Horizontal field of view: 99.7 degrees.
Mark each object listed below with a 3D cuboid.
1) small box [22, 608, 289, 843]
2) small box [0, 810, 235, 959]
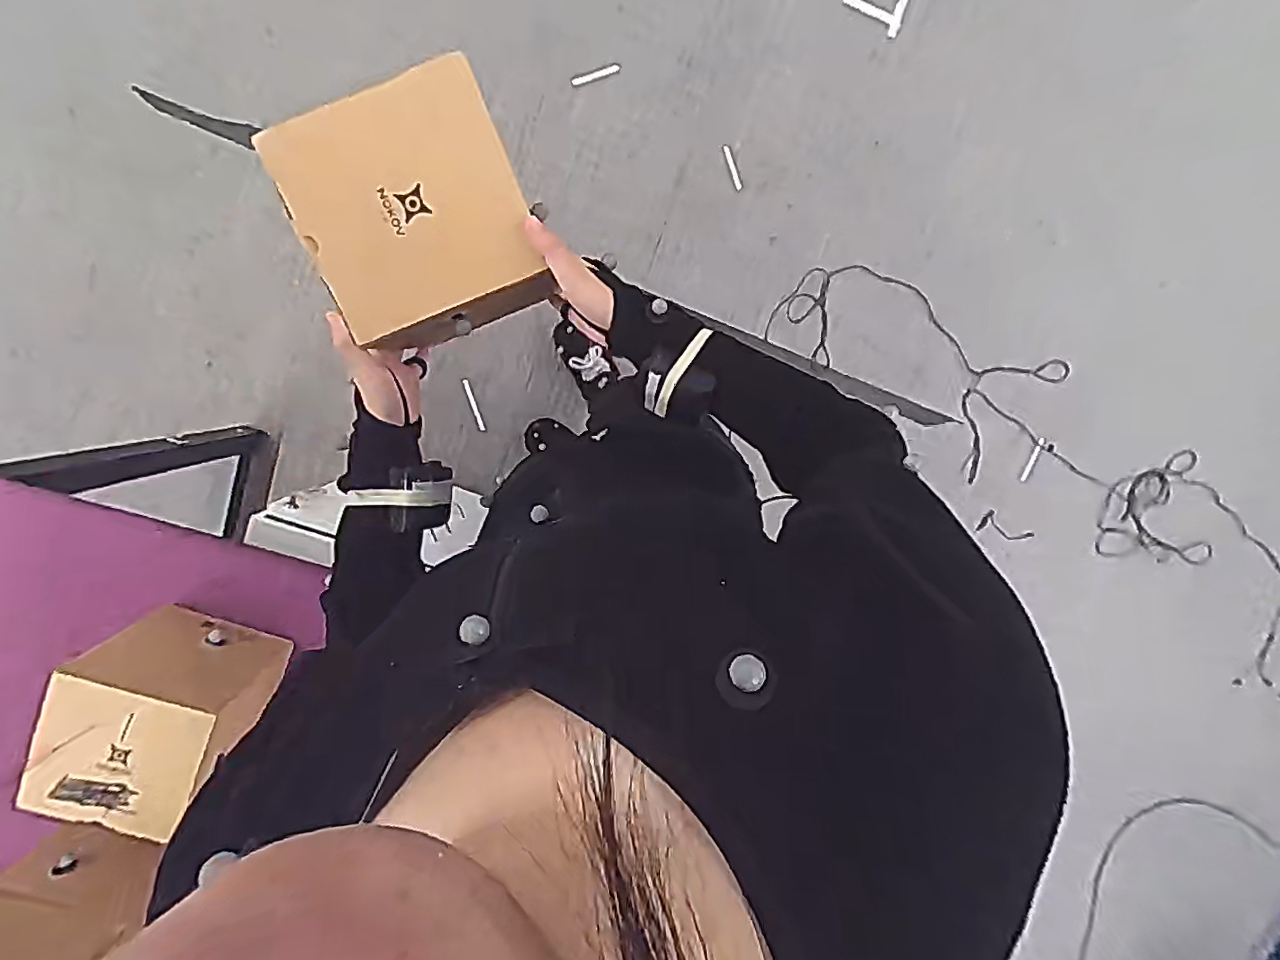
[{"bbox_3d":[-0.575,0.291,0.668,0.168,0.176,0.179,22,98,-10],"label":"small box"},{"bbox_3d":[-0.689,0.548,0.705,0.179,0.176,0.168,22,97,-10],"label":"small box"}]
